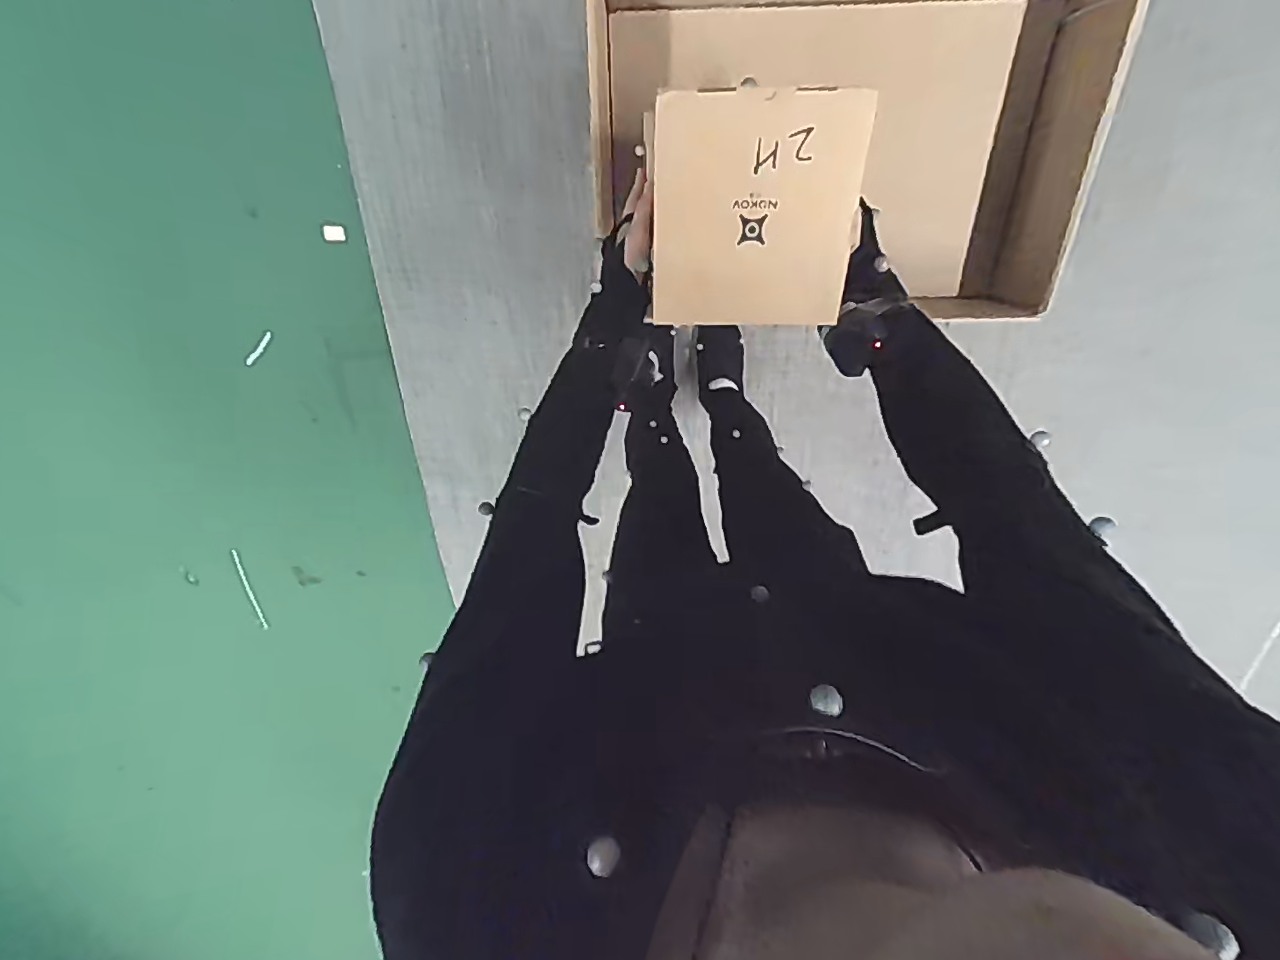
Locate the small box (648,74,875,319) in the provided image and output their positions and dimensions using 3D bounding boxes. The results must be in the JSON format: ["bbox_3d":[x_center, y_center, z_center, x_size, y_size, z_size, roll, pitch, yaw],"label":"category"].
[{"bbox_3d":[0.093,-0.259,0.502,0.168,0.176,0.179,1,120,2],"label":"small box"}]
